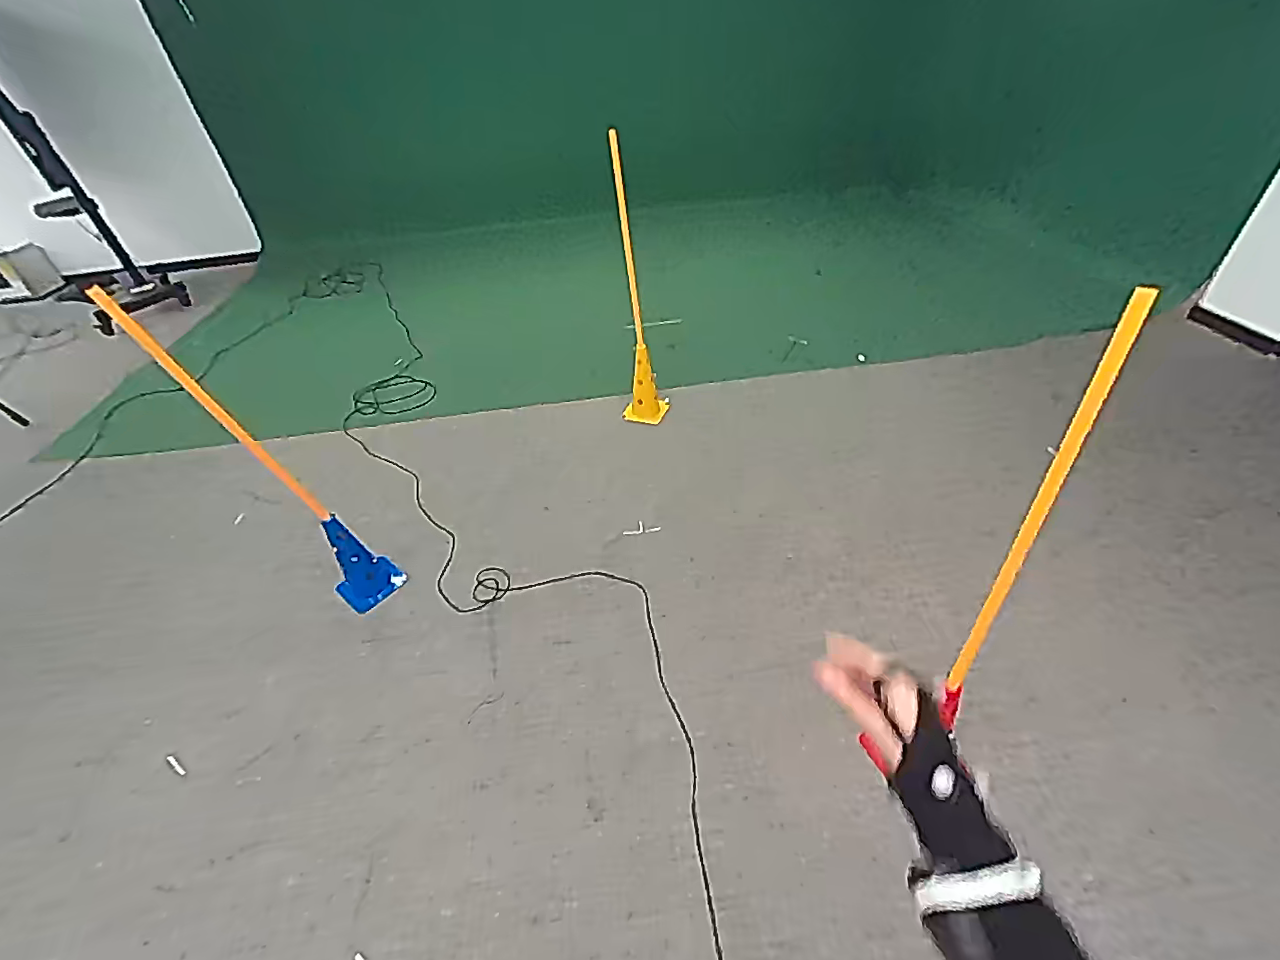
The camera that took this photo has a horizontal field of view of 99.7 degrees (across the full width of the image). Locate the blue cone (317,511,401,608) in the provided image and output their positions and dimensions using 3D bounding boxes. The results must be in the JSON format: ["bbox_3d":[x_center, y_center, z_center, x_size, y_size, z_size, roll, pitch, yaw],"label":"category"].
[{"bbox_3d":[-1.001,0.251,1.862,0.192,0.380,0.193,26,52,30],"label":"blue cone"}]
